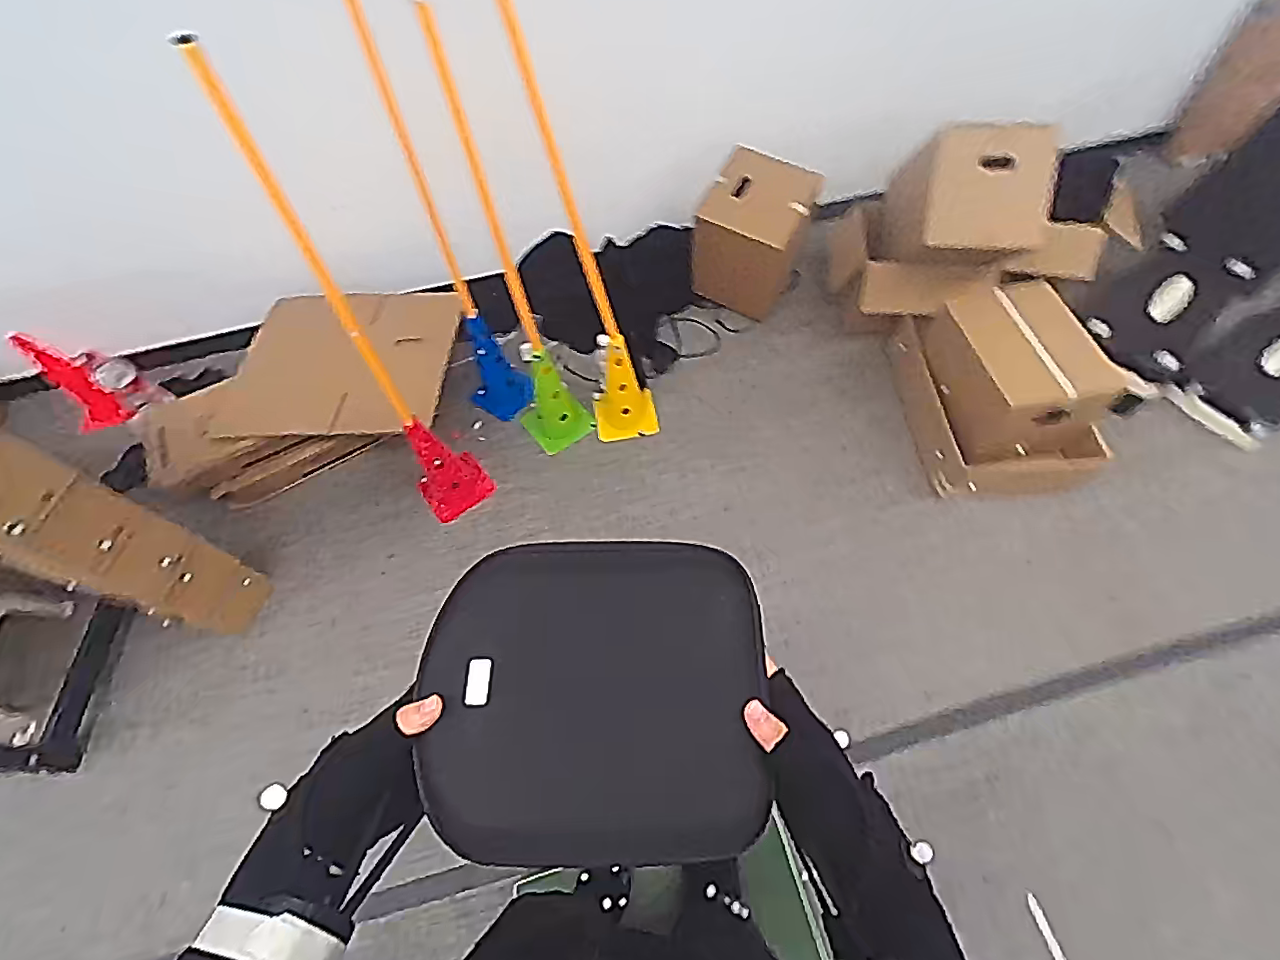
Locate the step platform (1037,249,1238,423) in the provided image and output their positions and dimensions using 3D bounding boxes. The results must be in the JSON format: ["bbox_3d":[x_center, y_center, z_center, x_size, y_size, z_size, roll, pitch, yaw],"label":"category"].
[{"bbox_3d":[1.662,-0.495,1.807,0.684,0.204,0.286,-40,65,-18],"label":"step platform"}]
